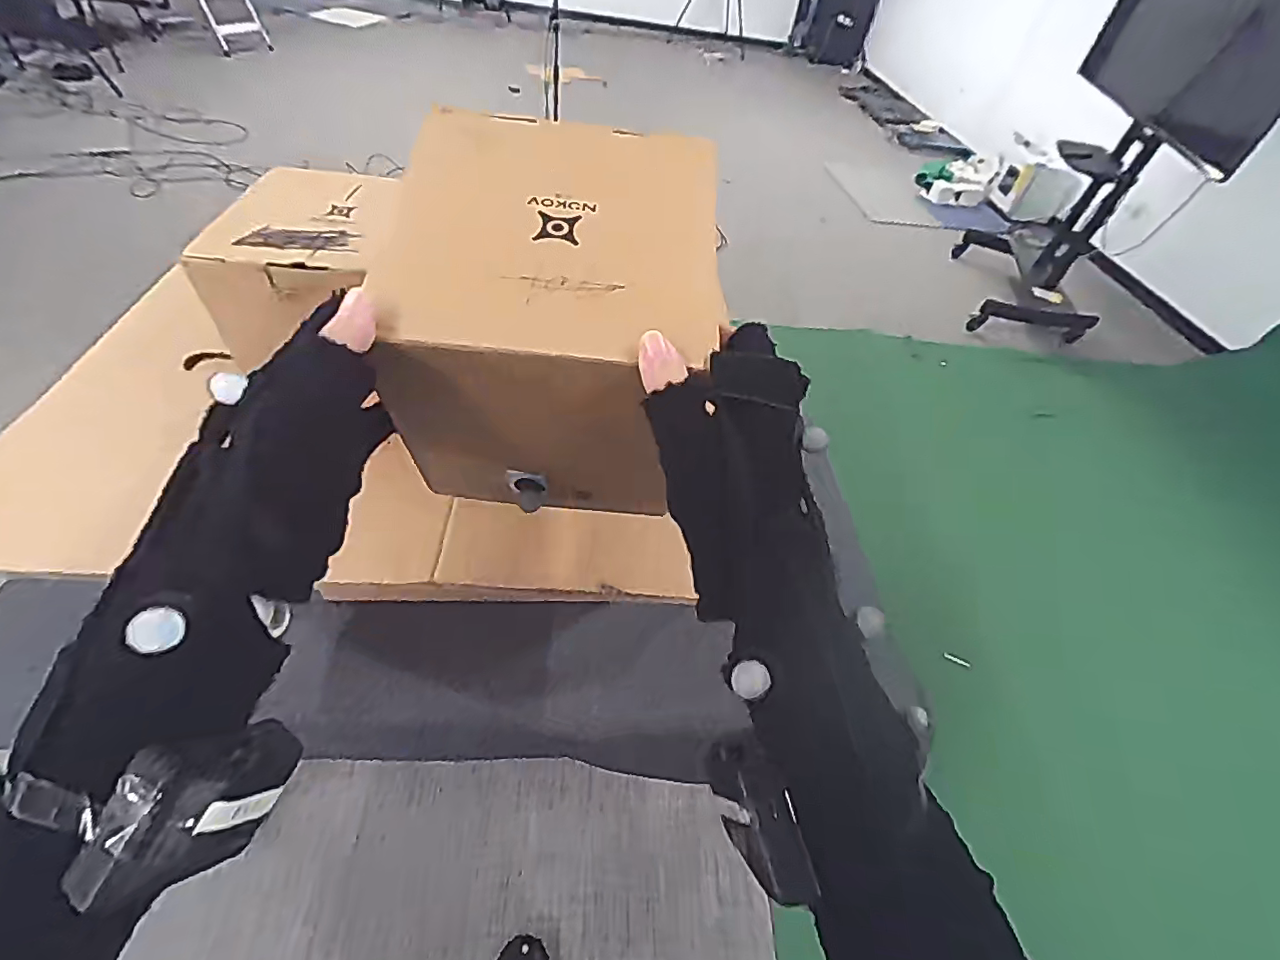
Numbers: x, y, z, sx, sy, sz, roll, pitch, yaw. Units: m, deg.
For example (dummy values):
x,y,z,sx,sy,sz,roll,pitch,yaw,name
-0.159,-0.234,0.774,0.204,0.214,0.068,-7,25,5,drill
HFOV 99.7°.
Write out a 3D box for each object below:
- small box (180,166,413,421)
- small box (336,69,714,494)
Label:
x,y,z,sx,sy,sz,roll,pitch,yaw,name
-0.269,-0.174,0.520,0.168,0.176,0.179,3,49,-5,small box
-0.053,-0.110,0.341,0.168,0.176,0.179,5,63,-4,small box
